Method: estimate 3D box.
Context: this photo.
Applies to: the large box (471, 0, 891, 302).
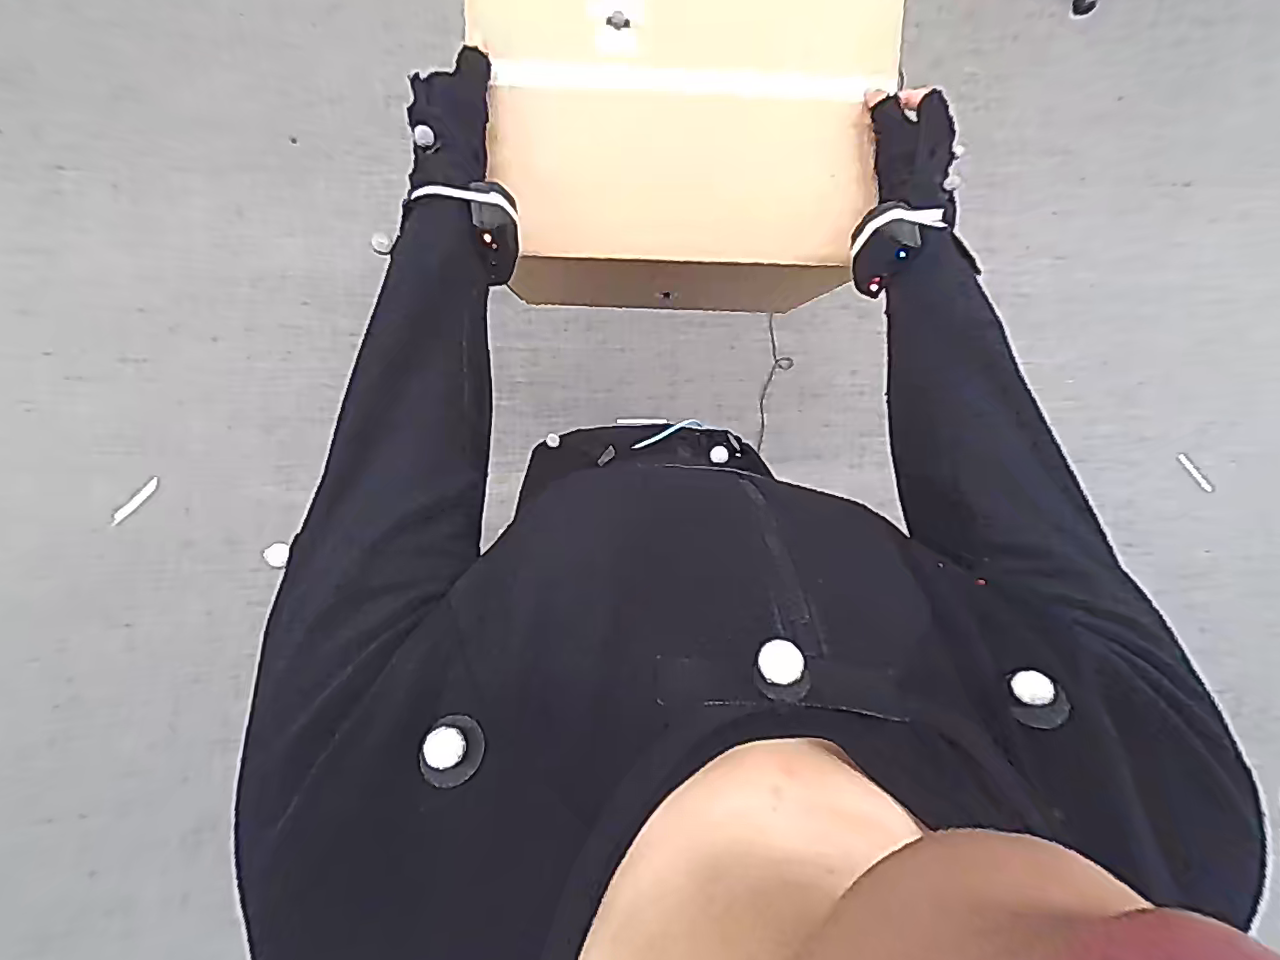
[{"bbox_3d":[0.036,-0.401,0.665,0.408,0.320,0.320,1,98,-3],"label":"large box"}]
